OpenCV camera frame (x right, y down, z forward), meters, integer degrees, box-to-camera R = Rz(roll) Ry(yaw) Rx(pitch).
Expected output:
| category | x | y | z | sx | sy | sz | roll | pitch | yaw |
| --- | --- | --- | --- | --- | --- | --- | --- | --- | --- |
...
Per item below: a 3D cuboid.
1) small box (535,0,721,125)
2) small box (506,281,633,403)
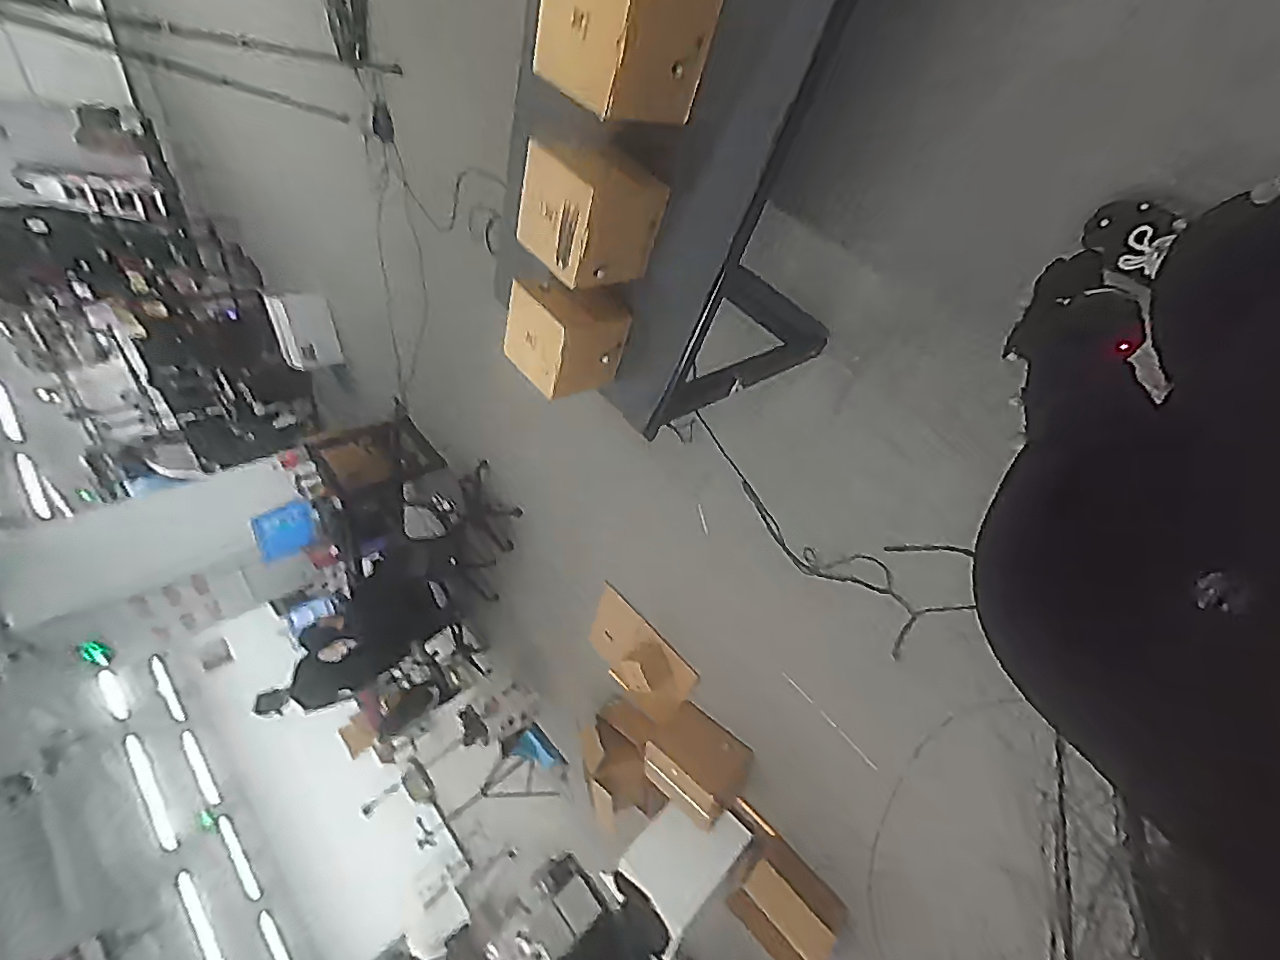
| category | x | y | z | sx | sy | sz | roll | pitch | yaw |
| --- | --- | --- | --- | --- | --- | --- | --- | --- | --- |
| small box | -0.020 | -0.625 | 0.765 | 0.179 | 0.176 | 0.168 | 44 | 138 | 22 |
| small box | -0.145 | -0.284 | 1.091 | 0.179 | 0.176 | 0.168 | 45 | 137 | 23 |
